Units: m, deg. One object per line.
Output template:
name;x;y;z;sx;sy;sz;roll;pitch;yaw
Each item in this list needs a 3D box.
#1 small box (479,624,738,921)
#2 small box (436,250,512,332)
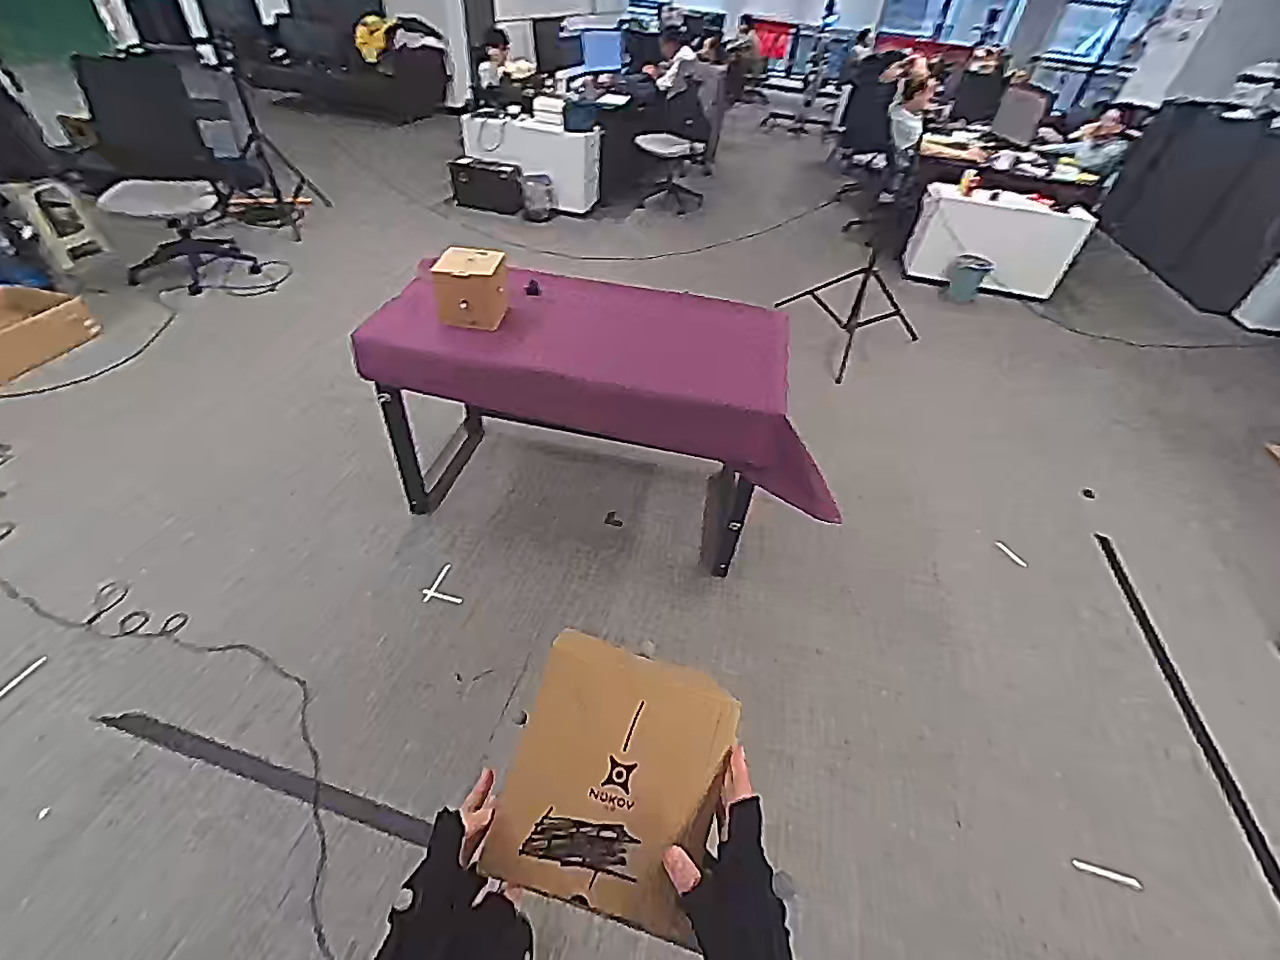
small box;-0.026;0.246;0.505;0.168;0.176;0.179;18;77;-1
small box;-0.481;-0.555;1.598;0.168;0.176;0.179;6;43;-2
